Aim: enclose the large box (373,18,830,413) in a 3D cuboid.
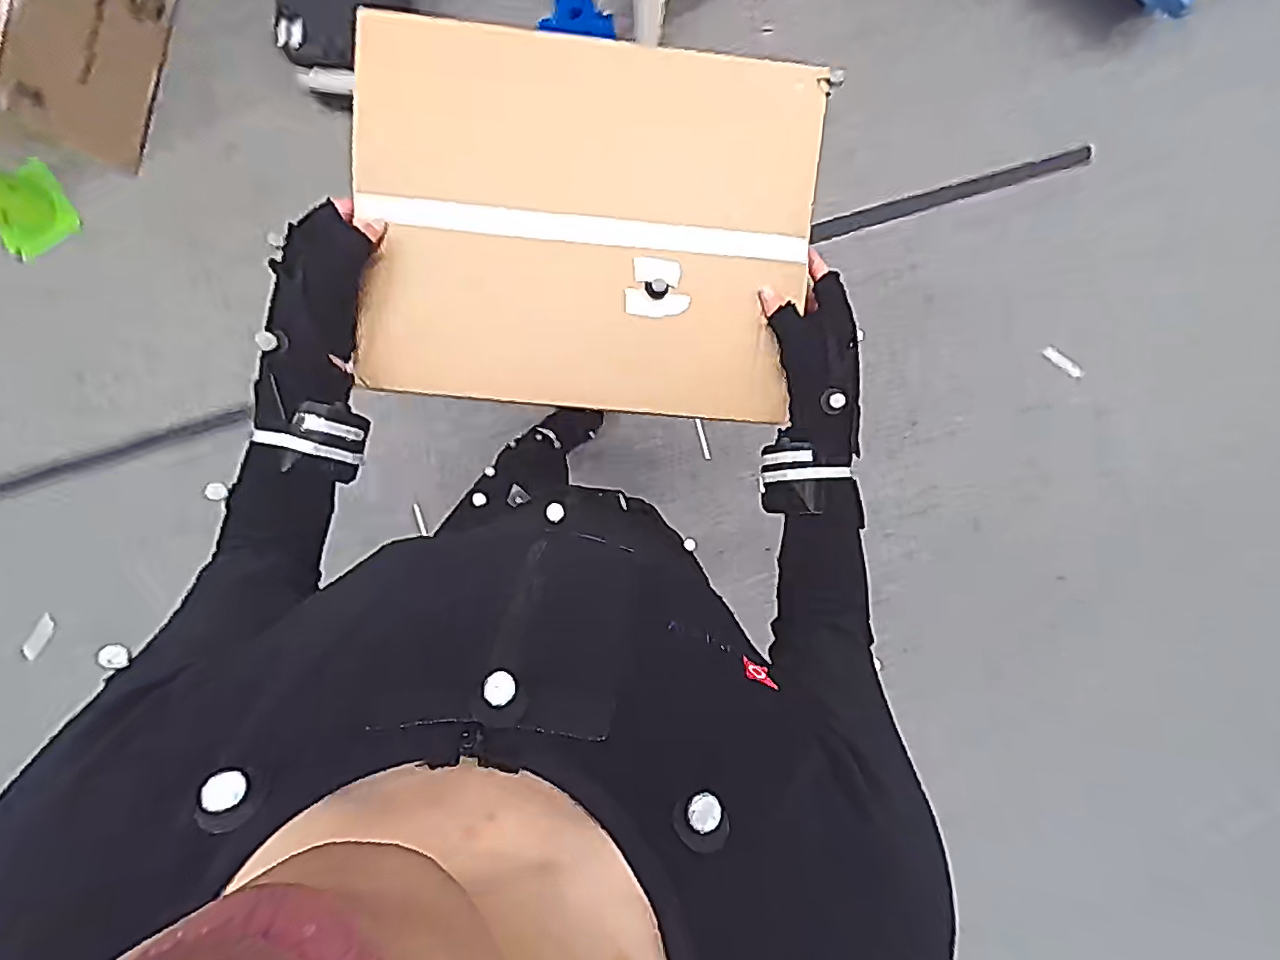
[{"bbox_3d":[-0.047,-0.249,0.639,0.408,0.320,0.320,5,98,-4],"label":"large box"}]
